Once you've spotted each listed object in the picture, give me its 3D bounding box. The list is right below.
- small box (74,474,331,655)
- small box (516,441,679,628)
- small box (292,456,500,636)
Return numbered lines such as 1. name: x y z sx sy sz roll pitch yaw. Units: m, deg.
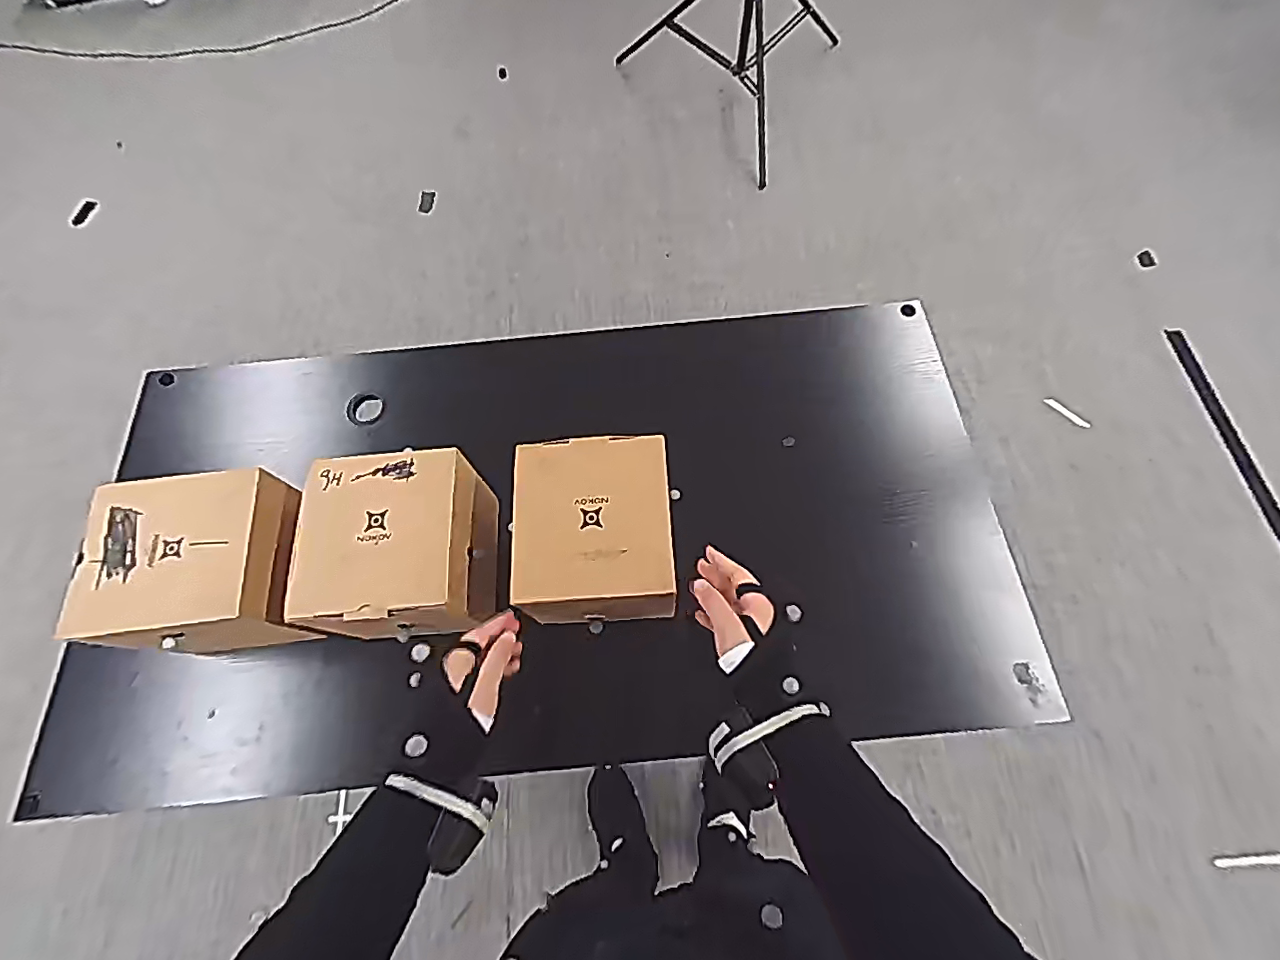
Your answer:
1. small box: -0.485 0.108 0.643 0.179 0.176 0.168 -7 68 -2
2. small box: -0.045 0.072 0.644 0.168 0.176 0.179 -6 68 2
3. small box: -0.270 0.088 0.644 0.168 0.176 0.179 -5 68 1
